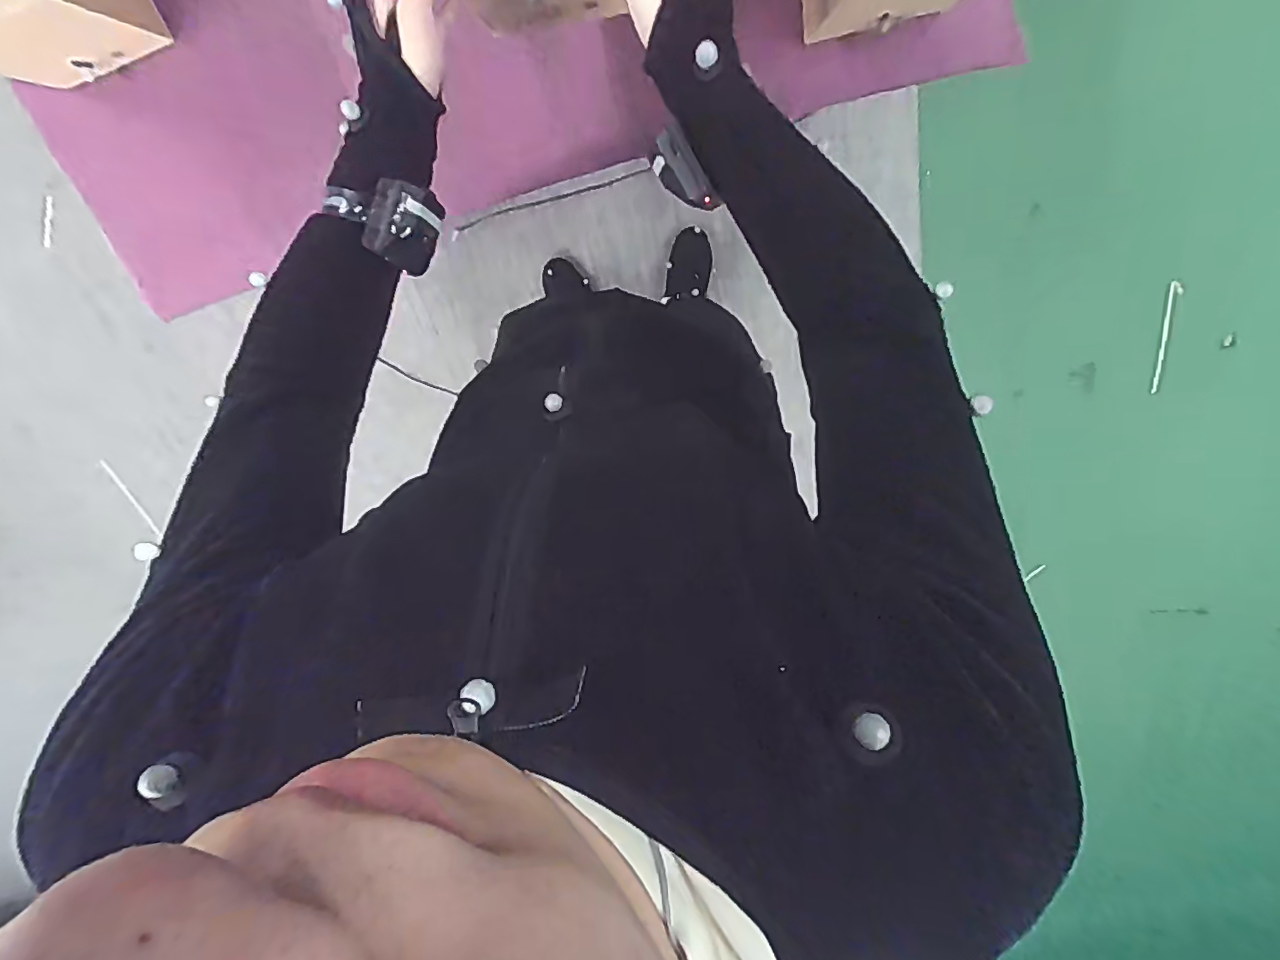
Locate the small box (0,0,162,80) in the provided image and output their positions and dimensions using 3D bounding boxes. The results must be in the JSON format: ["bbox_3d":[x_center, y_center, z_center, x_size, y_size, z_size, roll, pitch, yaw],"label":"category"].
[{"bbox_3d":[-0.676,-0.557,0.561,0.168,0.176,0.179,-15,116,8],"label":"small box"}]

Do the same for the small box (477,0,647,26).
[{"bbox_3d":[-0.081,-0.508,0.436,0.168,0.176,0.179,-6,109,6],"label":"small box"}]
